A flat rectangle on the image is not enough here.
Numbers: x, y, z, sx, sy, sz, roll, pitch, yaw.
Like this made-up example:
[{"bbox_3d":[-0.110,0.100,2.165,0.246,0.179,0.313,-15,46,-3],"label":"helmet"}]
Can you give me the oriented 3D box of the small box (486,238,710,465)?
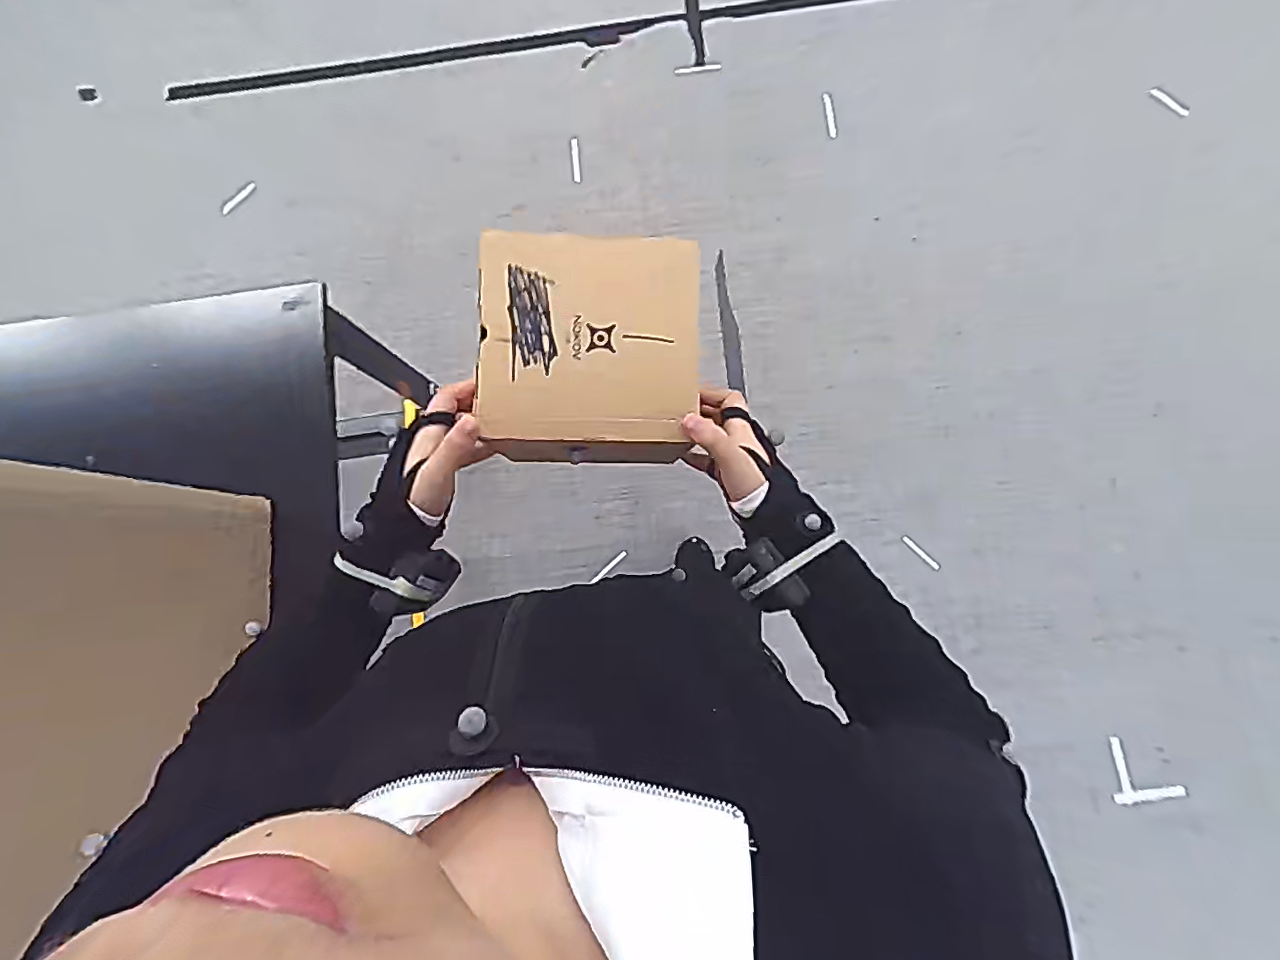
[{"bbox_3d":[-0.036,-0.103,0.505,0.179,0.176,0.168,0,86,-4],"label":"small box"}]
